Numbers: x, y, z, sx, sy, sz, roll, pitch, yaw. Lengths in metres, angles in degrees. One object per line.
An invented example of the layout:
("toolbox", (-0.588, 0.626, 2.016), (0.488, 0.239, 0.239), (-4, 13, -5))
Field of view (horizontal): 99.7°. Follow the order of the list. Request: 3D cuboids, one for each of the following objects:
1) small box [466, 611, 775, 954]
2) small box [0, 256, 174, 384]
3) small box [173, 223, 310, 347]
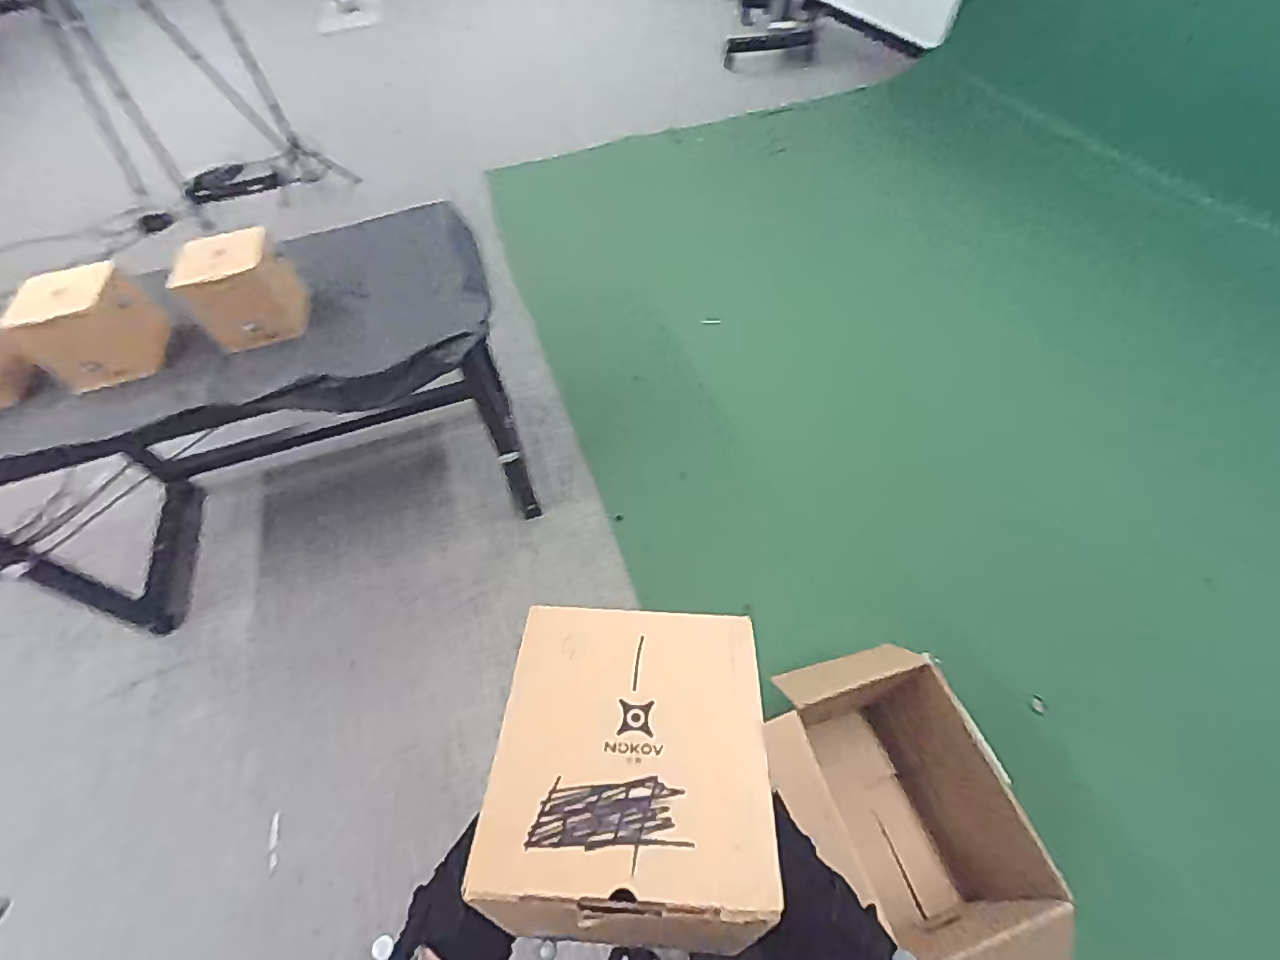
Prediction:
("small box", (-0.008, 0.219, 0.392), (0.168, 0.176, 0.179), (3, 43, 1))
("small box", (-1.115, -0.327, 1.112), (0.168, 0.176, 0.179), (-16, 55, -8))
("small box", (-0.832, -0.413, 1.152), (0.168, 0.176, 0.179), (-16, 55, -7))
